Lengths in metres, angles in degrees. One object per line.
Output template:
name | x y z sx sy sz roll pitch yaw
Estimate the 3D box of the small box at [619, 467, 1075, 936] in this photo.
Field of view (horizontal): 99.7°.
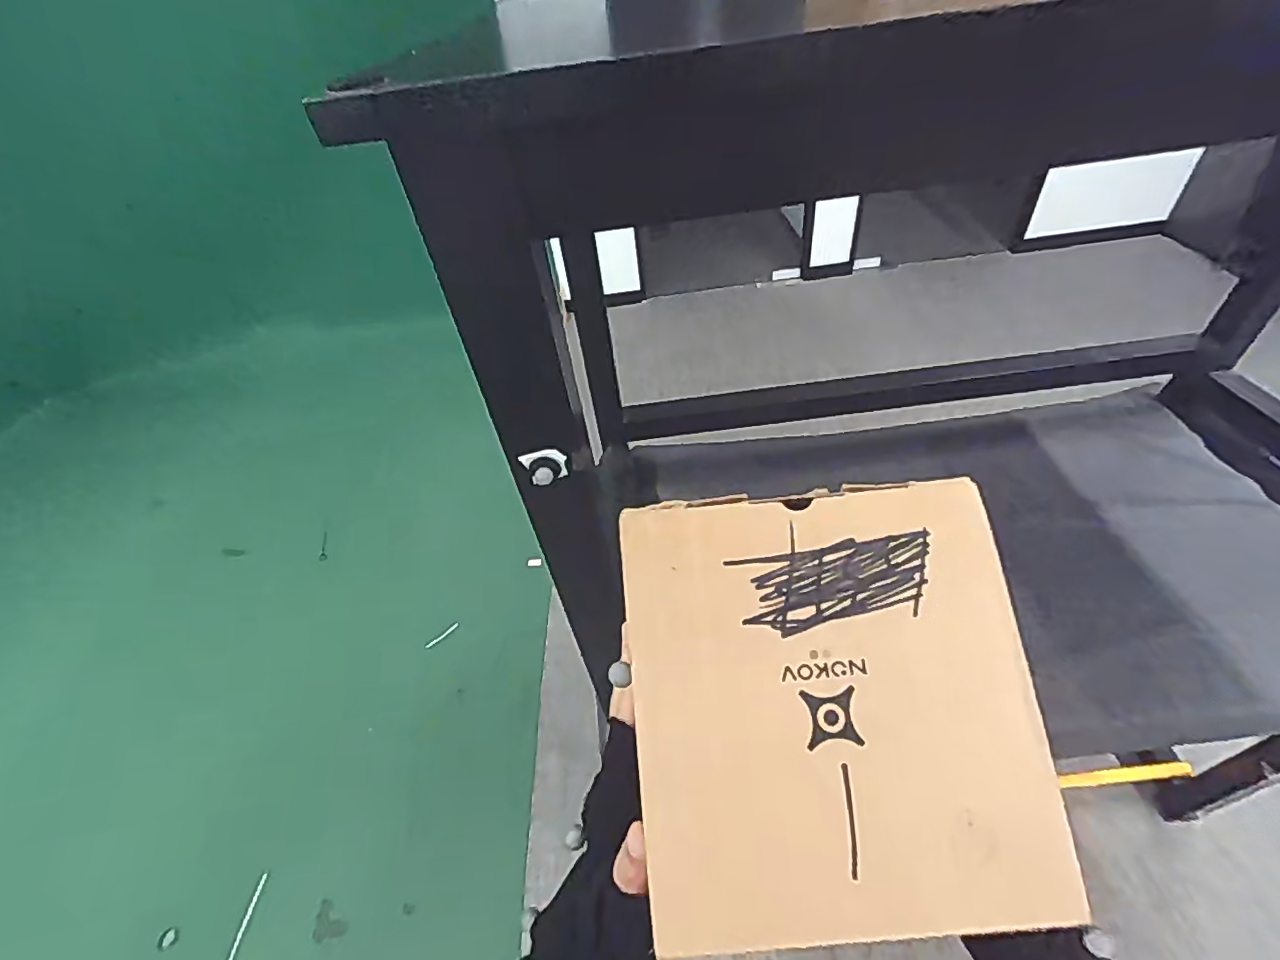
small box | 0.079 0.105 0.304 0.168 0.176 0.179 -6 74 1
